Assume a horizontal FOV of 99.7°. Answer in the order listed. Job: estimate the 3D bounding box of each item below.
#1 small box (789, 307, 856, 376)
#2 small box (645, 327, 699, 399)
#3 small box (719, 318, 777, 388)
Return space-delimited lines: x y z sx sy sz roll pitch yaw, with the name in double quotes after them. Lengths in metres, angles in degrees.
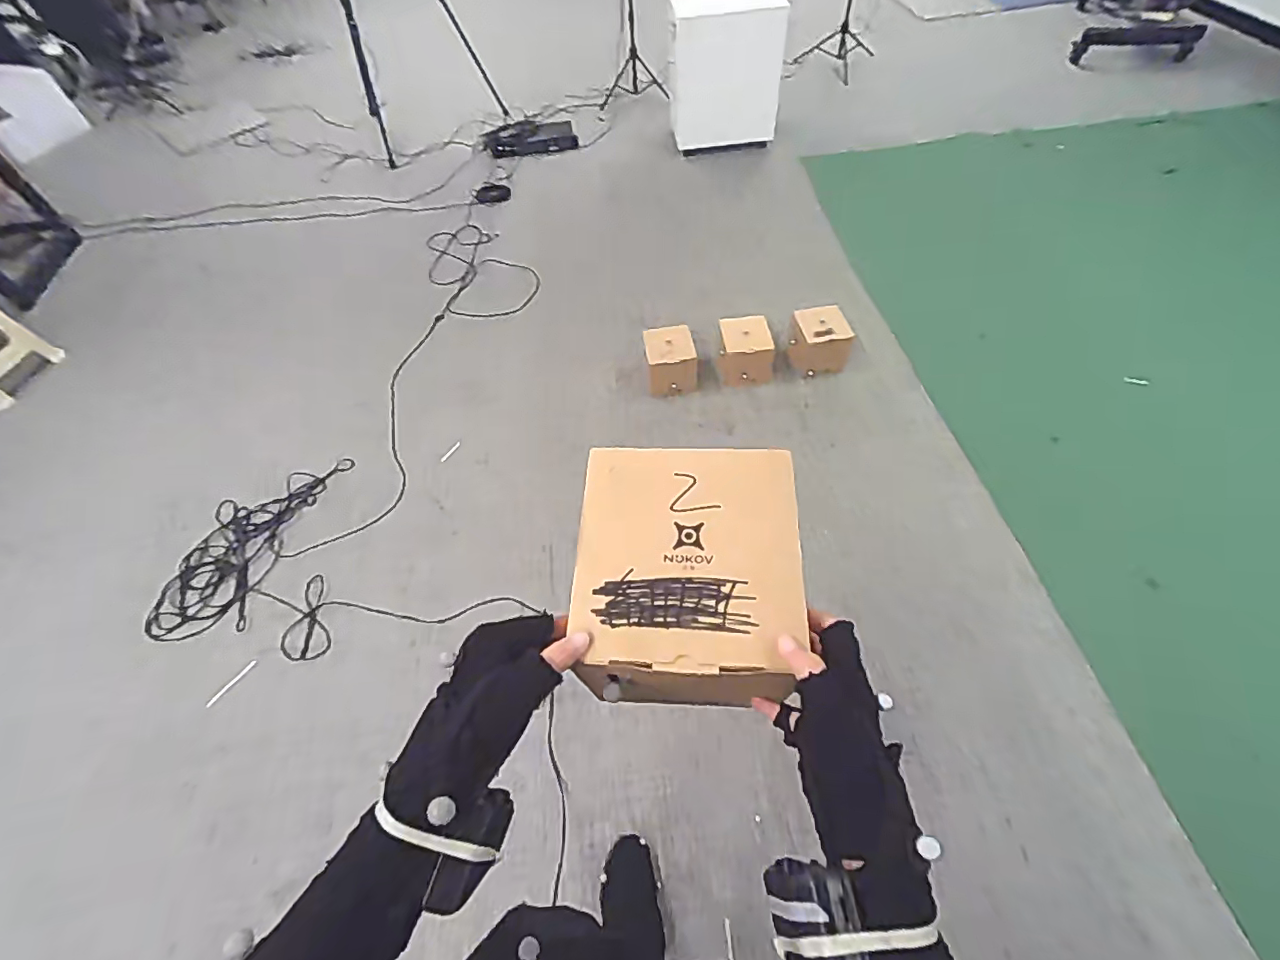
0.645 -0.489 1.935 0.168 0.176 0.179 -9 55 -2 "small box"
0.113 -0.416 1.927 0.168 0.176 0.179 -9 56 0 "small box"
0.379 -0.452 1.933 0.168 0.176 0.179 -7 56 0 "small box"
